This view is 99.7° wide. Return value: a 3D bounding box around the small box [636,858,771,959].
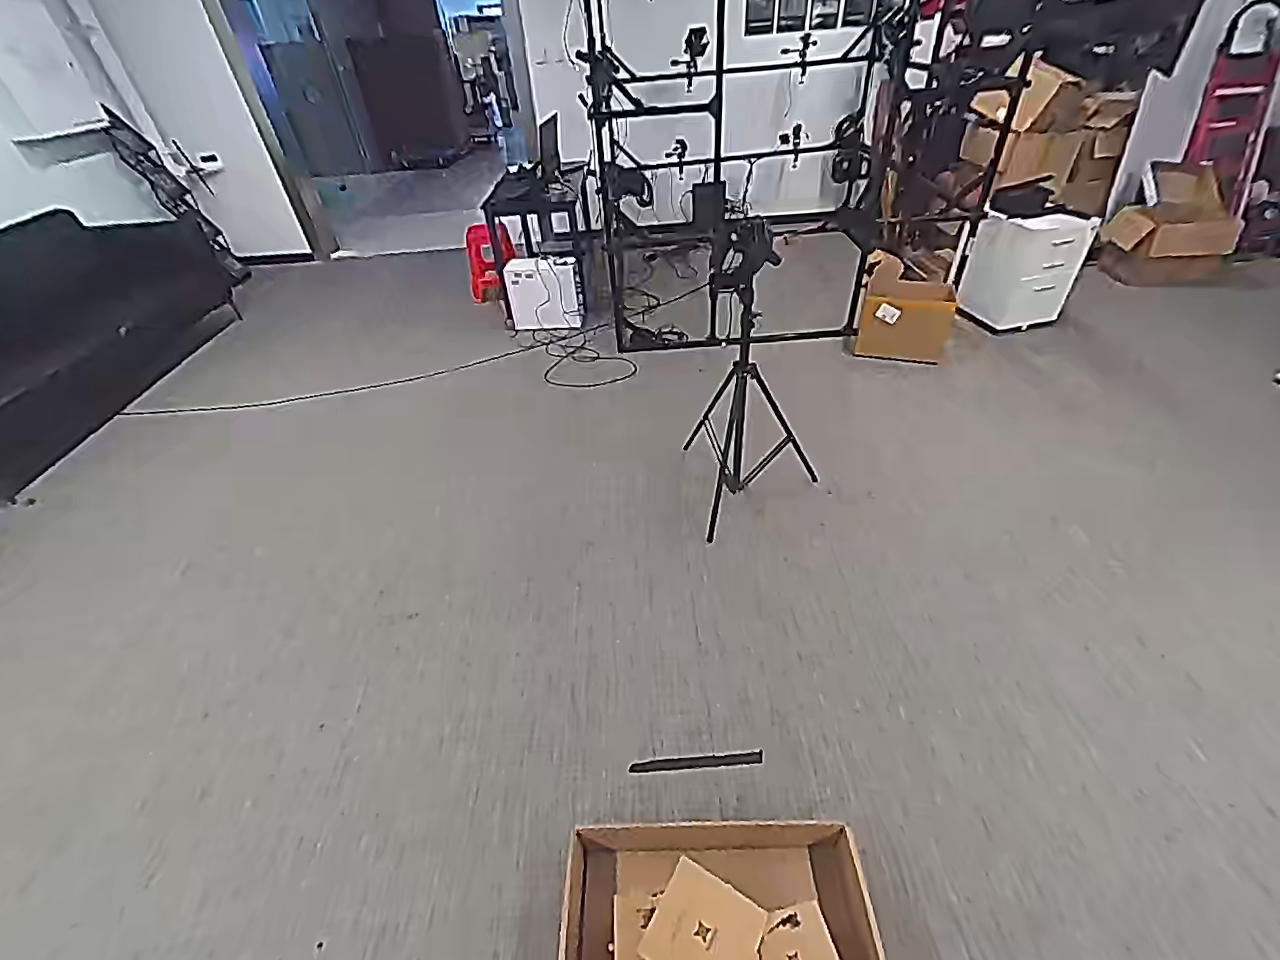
[{"bbox_3d":[0.113,0.823,0.951,0.179,0.176,0.168,18,42,27],"label":"small box"}]
